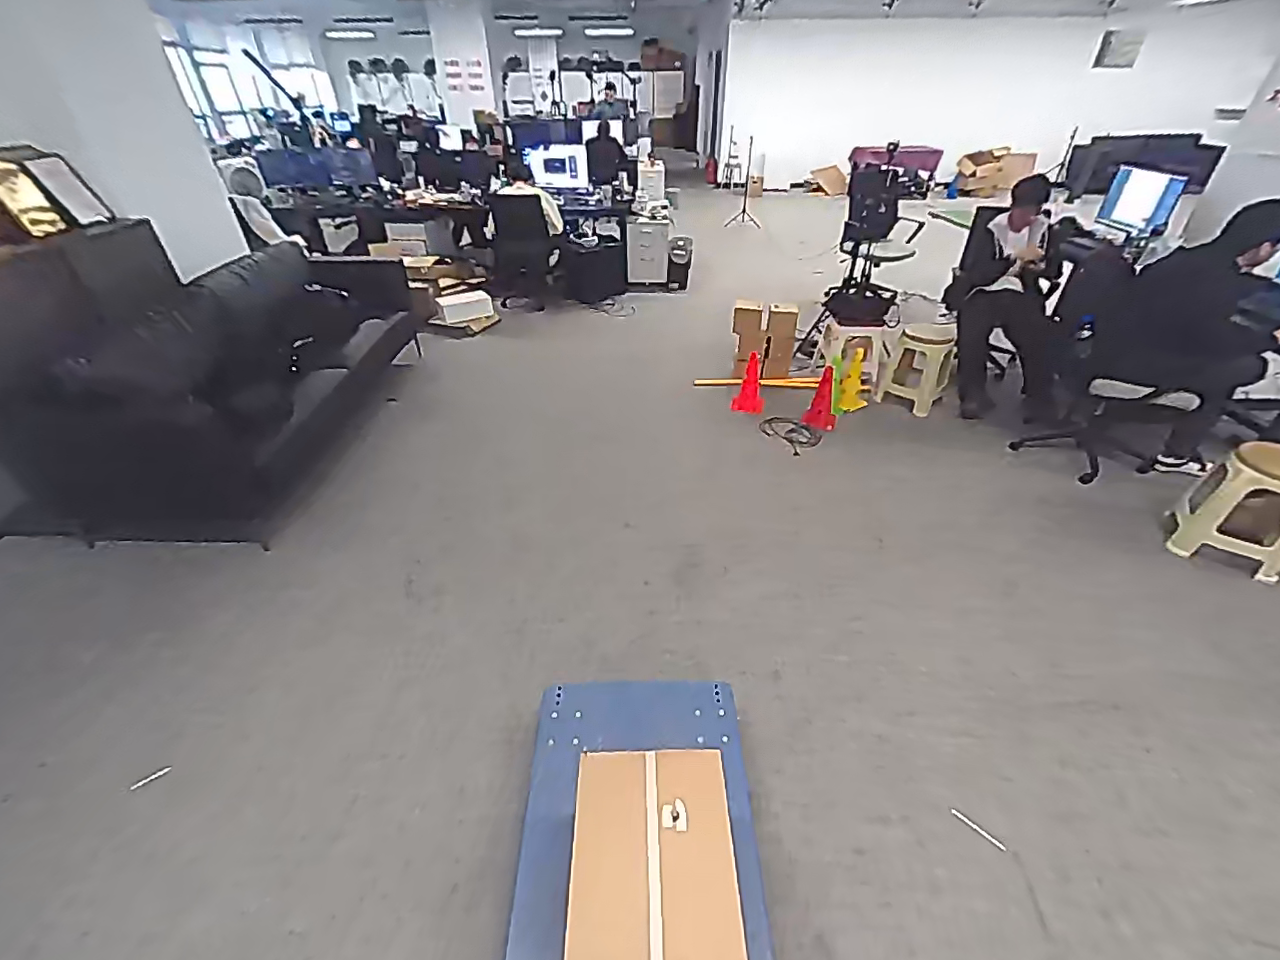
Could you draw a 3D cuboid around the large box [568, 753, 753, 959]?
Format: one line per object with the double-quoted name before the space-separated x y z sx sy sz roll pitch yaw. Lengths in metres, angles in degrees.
"large box" 0.033 0.840 1.106 0.320 0.320 0.408 -1 35 0
